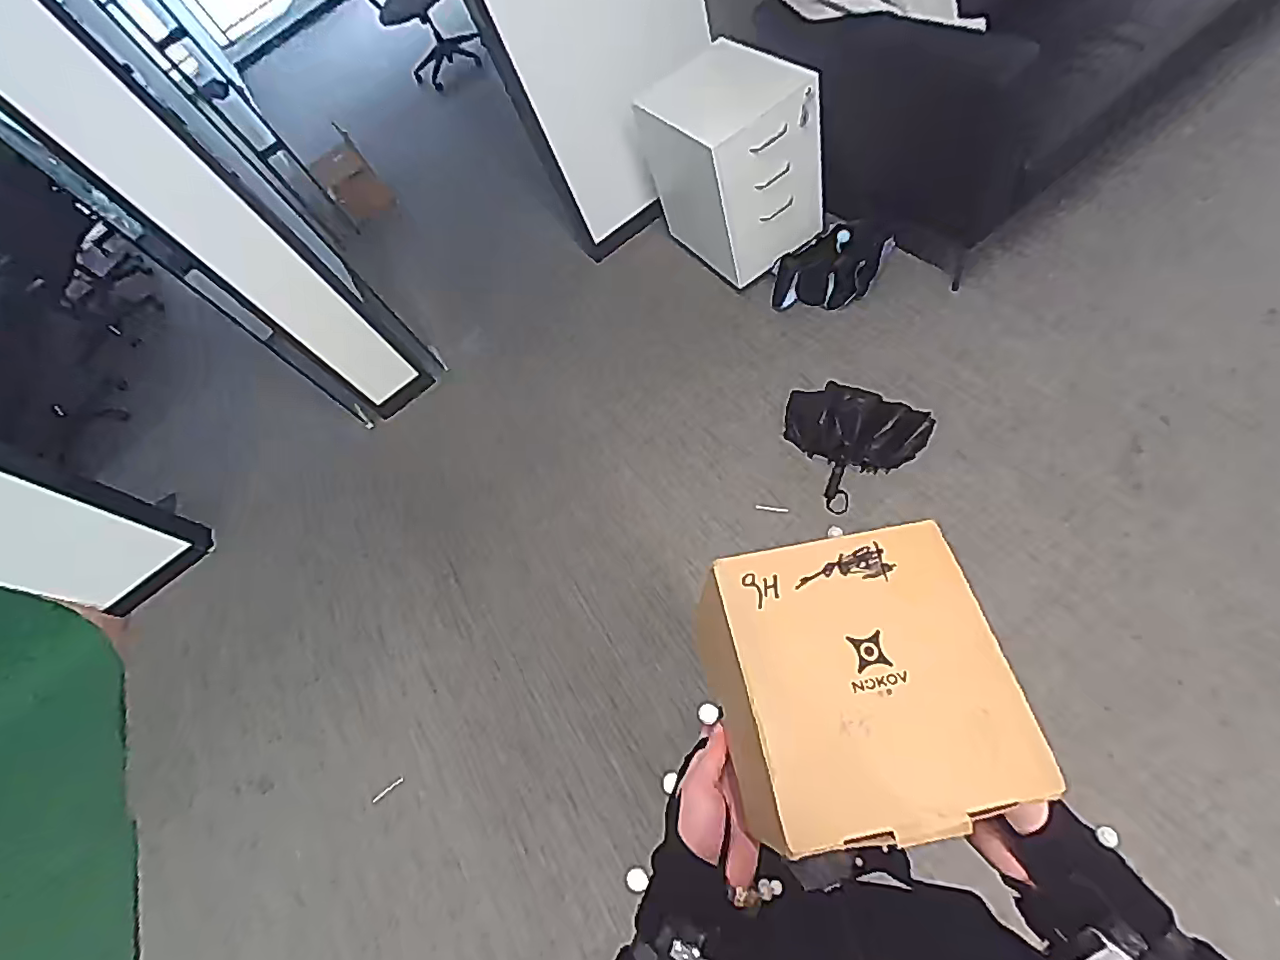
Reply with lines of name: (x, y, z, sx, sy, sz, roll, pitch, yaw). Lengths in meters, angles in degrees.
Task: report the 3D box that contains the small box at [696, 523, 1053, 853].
small box: (0.145, 0.153, 0.413, 0.168, 0.176, 0.179, -8, 64, -5)
